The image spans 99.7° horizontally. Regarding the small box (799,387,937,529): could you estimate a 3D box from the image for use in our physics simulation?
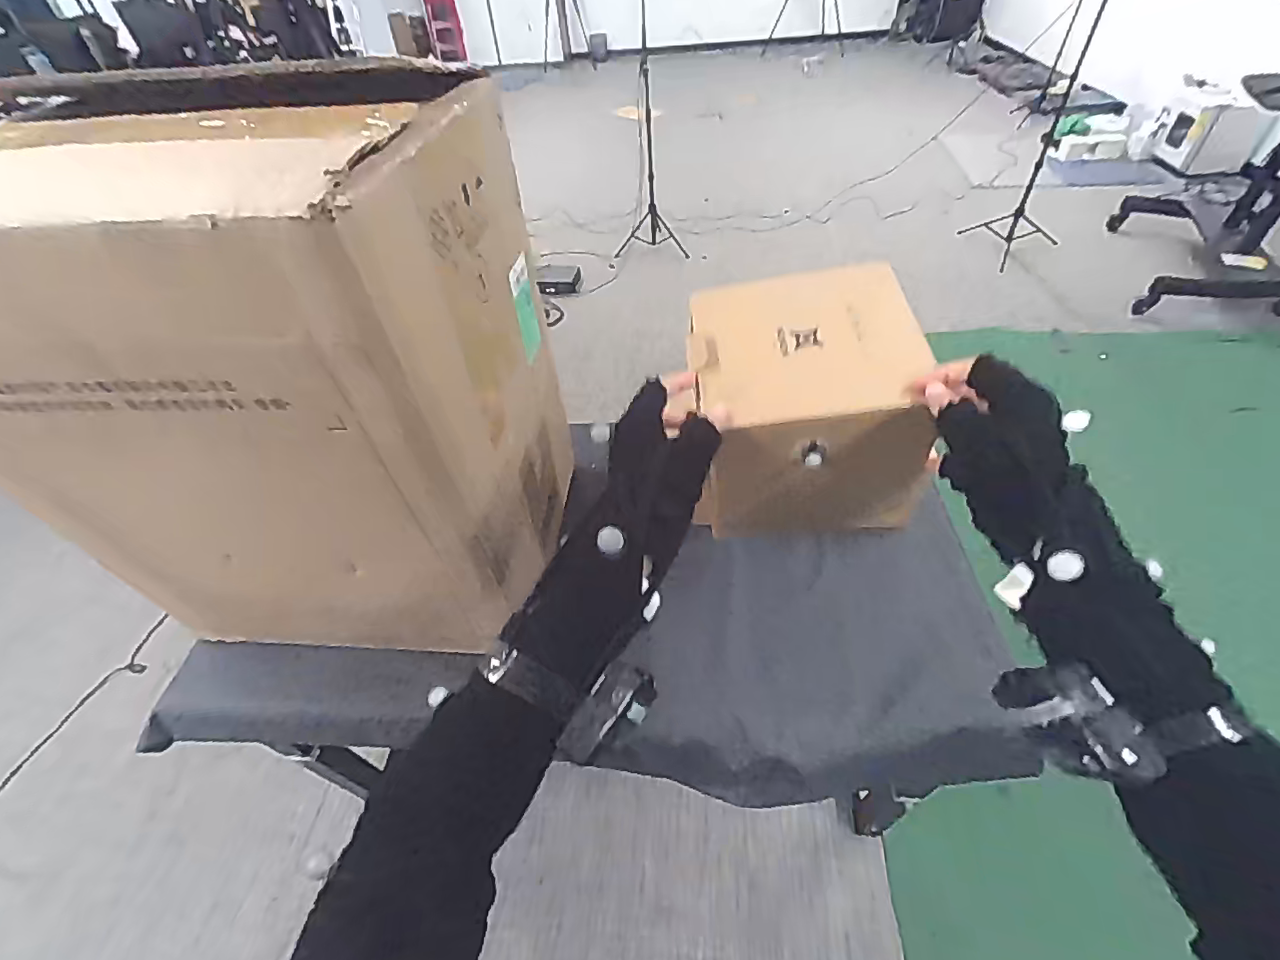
[{"bbox_3d":[0.372,-0.039,0.919,0.168,0.176,0.179,1,48,7],"label":"small box"}]
